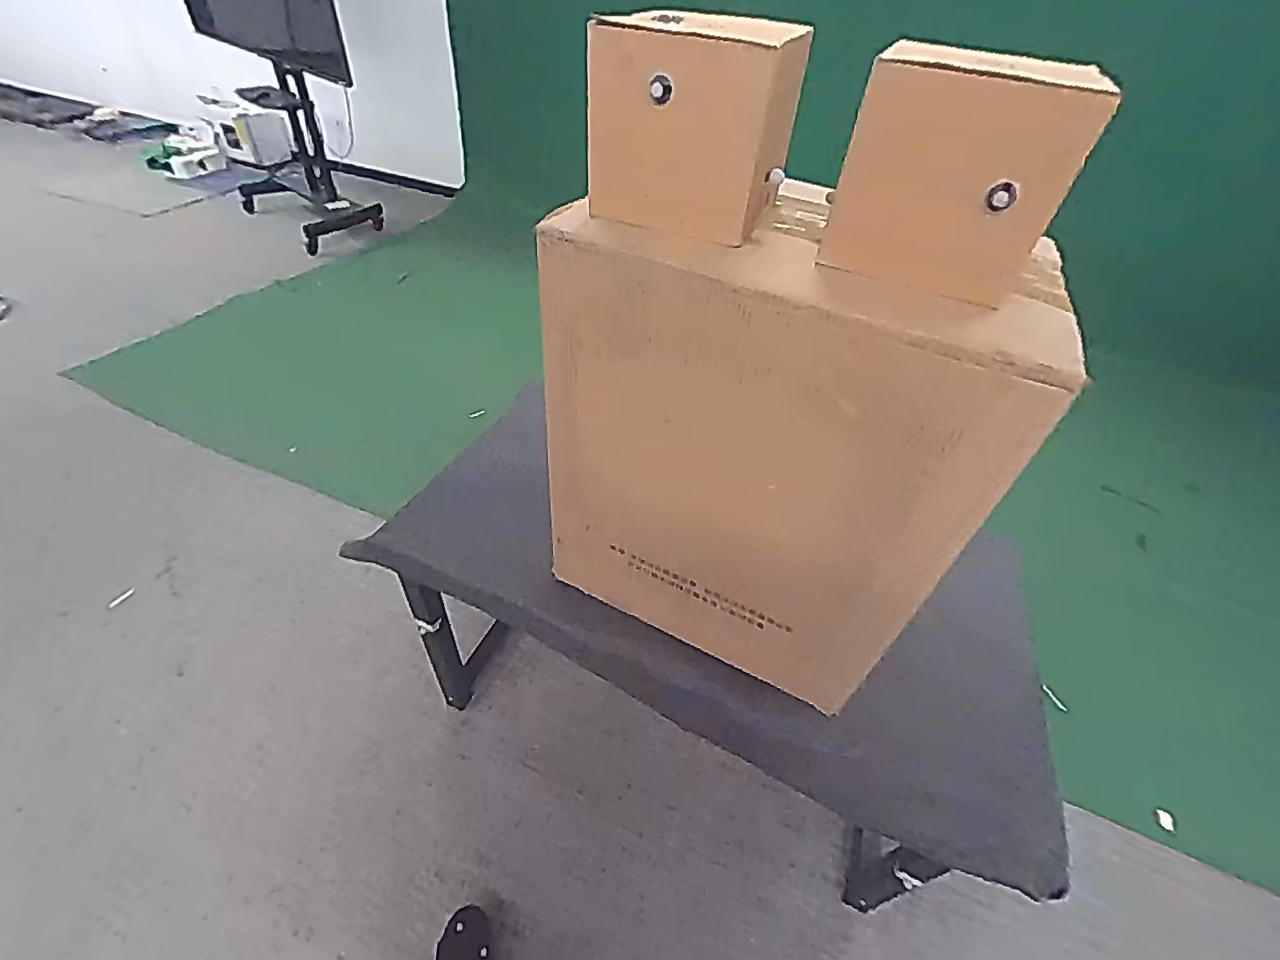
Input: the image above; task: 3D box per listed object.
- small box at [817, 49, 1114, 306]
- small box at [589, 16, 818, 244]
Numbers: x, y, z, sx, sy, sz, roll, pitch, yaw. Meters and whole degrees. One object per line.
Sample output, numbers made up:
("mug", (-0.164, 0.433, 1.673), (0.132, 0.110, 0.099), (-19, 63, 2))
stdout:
("small box", (0.293, -0.287, 0.517), (0.179, 0.176, 0.168), (22, 47, 17))
("small box", (0.063, -0.373, 0.577), (0.179, 0.176, 0.168), (22, 50, 18))
